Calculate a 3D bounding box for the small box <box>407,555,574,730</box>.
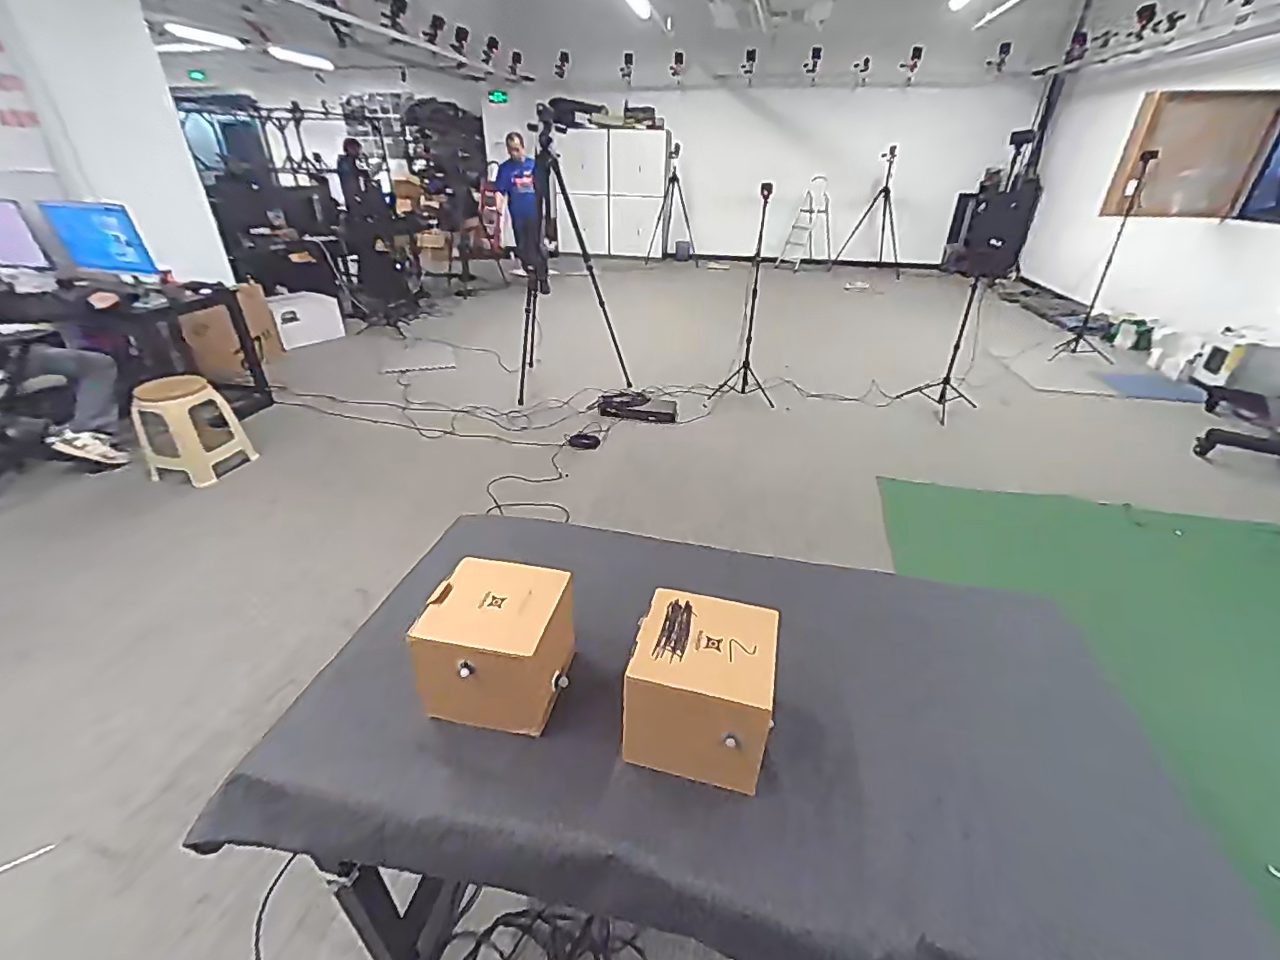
[{"bbox_3d":[-0.204,0.234,0.790,0.179,0.176,0.168,8,32,9],"label":"small box"}]
